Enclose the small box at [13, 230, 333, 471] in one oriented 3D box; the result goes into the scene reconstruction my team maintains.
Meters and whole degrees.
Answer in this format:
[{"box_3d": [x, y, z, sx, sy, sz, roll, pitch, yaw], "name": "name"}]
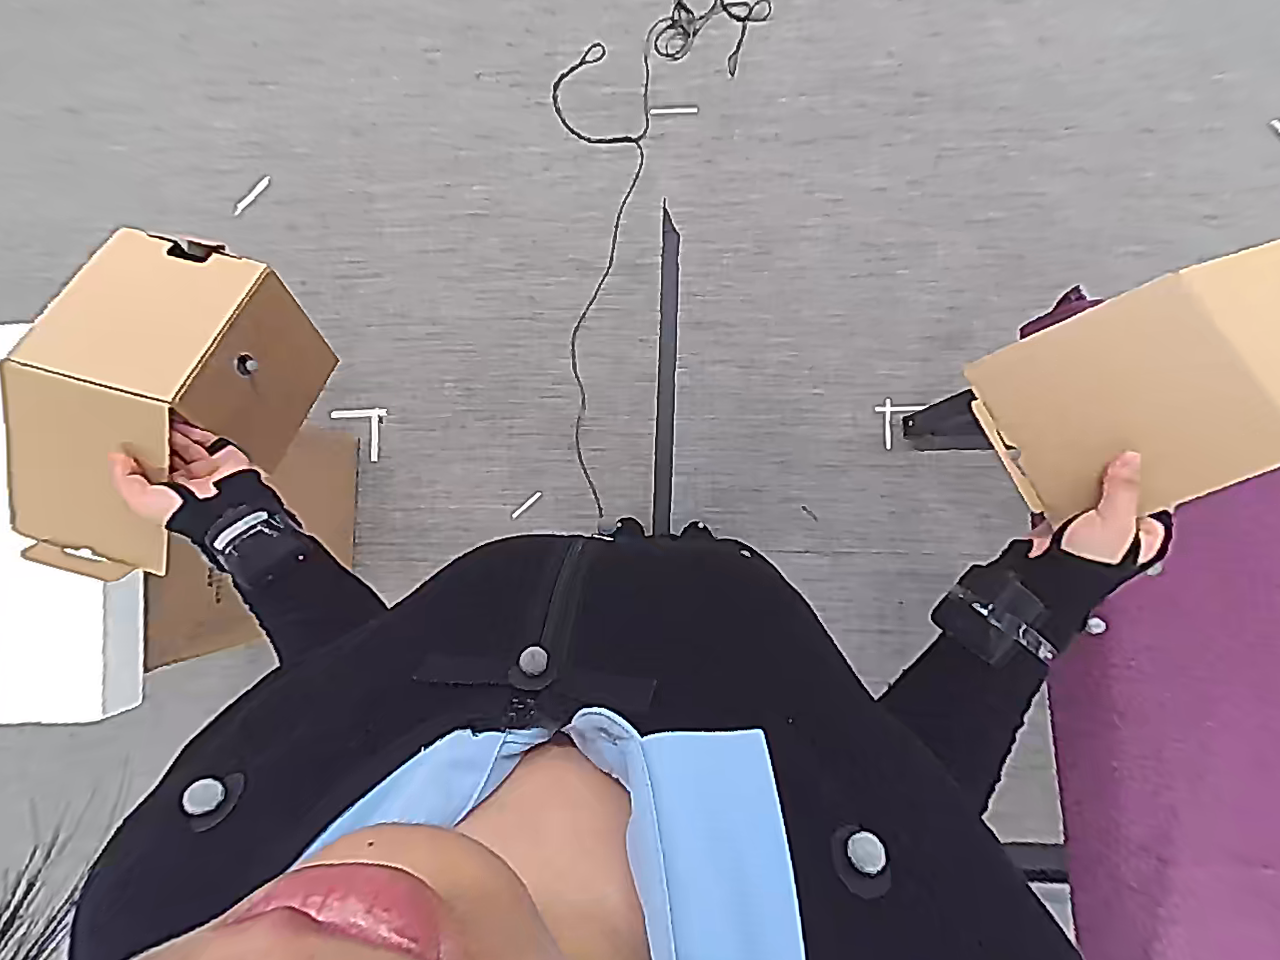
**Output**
[{"box_3d": [-0.480, -0.131, 0.596, 0.168, 0.176, 0.179, 15, 66, 2], "name": "small box"}]
